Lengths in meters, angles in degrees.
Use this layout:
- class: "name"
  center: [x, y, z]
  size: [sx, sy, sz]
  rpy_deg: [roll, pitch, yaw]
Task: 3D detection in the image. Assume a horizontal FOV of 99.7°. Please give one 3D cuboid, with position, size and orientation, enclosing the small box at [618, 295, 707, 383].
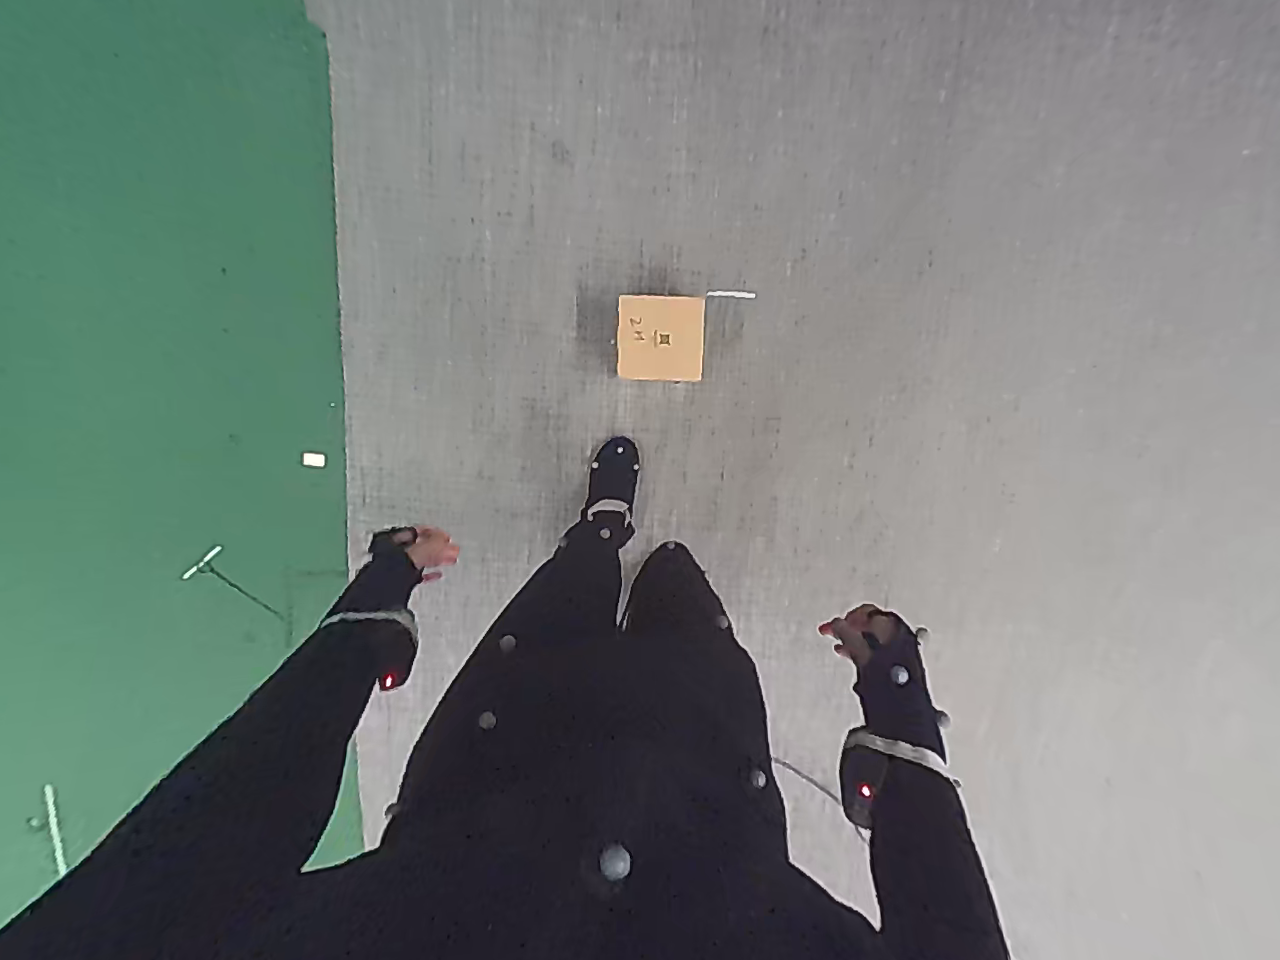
- class: "small box"
  center: [0.042, -0.298, 1.166]
  size: [0.179, 0.176, 0.168]
  rpy_deg: [2, 99, -1]
